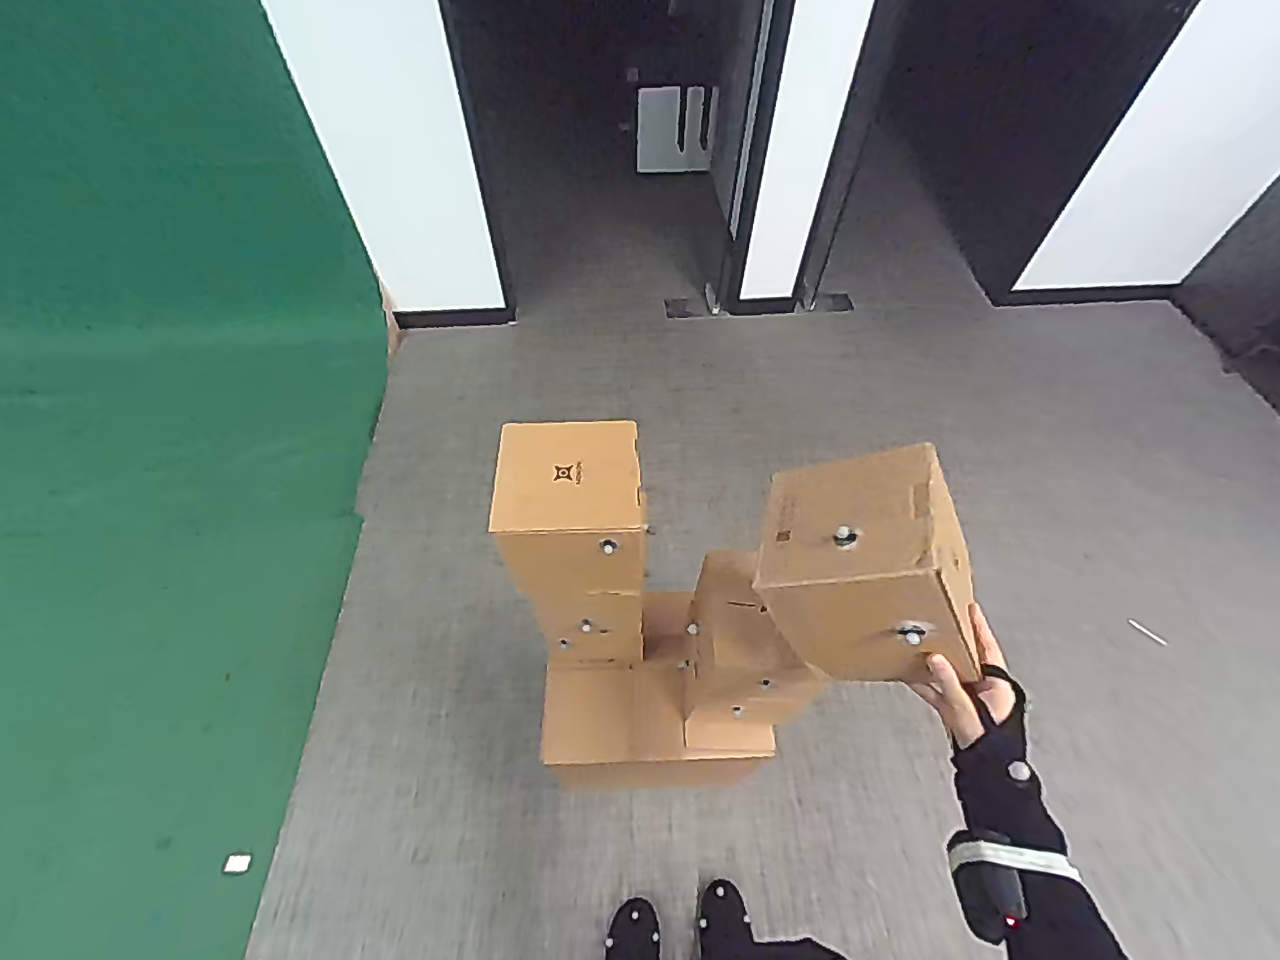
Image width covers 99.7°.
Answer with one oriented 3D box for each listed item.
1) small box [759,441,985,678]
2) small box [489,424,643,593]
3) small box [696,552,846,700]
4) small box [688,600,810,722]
[{"bbox_3d":[0.239,0.090,0.566,0.176,0.179,0.168,-12,37,34],"label":"small box"},{"bbox_3d":[-0.087,0.043,0.725,0.179,0.176,0.168,-3,55,-1],"label":"small box"},{"bbox_3d":[0.180,0.219,0.799,0.179,0.176,0.168,1,55,0],"label":"small box"},{"bbox_3d":[0.174,0.315,0.931,0.179,0.176,0.168,0,56,0],"label":"small box"}]
